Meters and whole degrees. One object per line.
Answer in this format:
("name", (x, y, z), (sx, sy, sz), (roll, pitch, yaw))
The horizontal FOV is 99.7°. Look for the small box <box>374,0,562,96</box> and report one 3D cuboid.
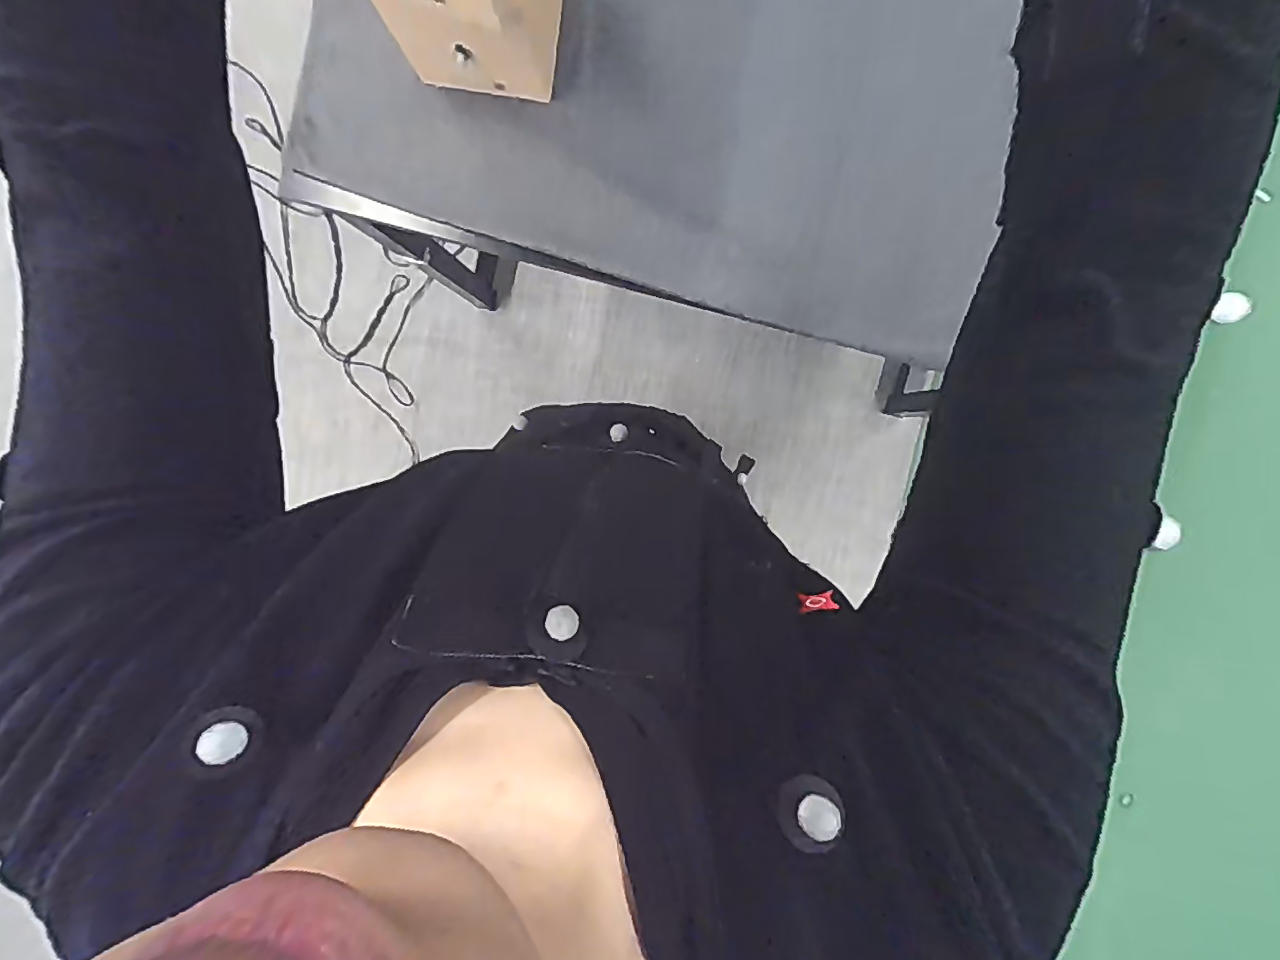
("small box", (-0.182, -0.571, 0.598), (0.168, 0.176, 0.179), (8, 96, -2))
